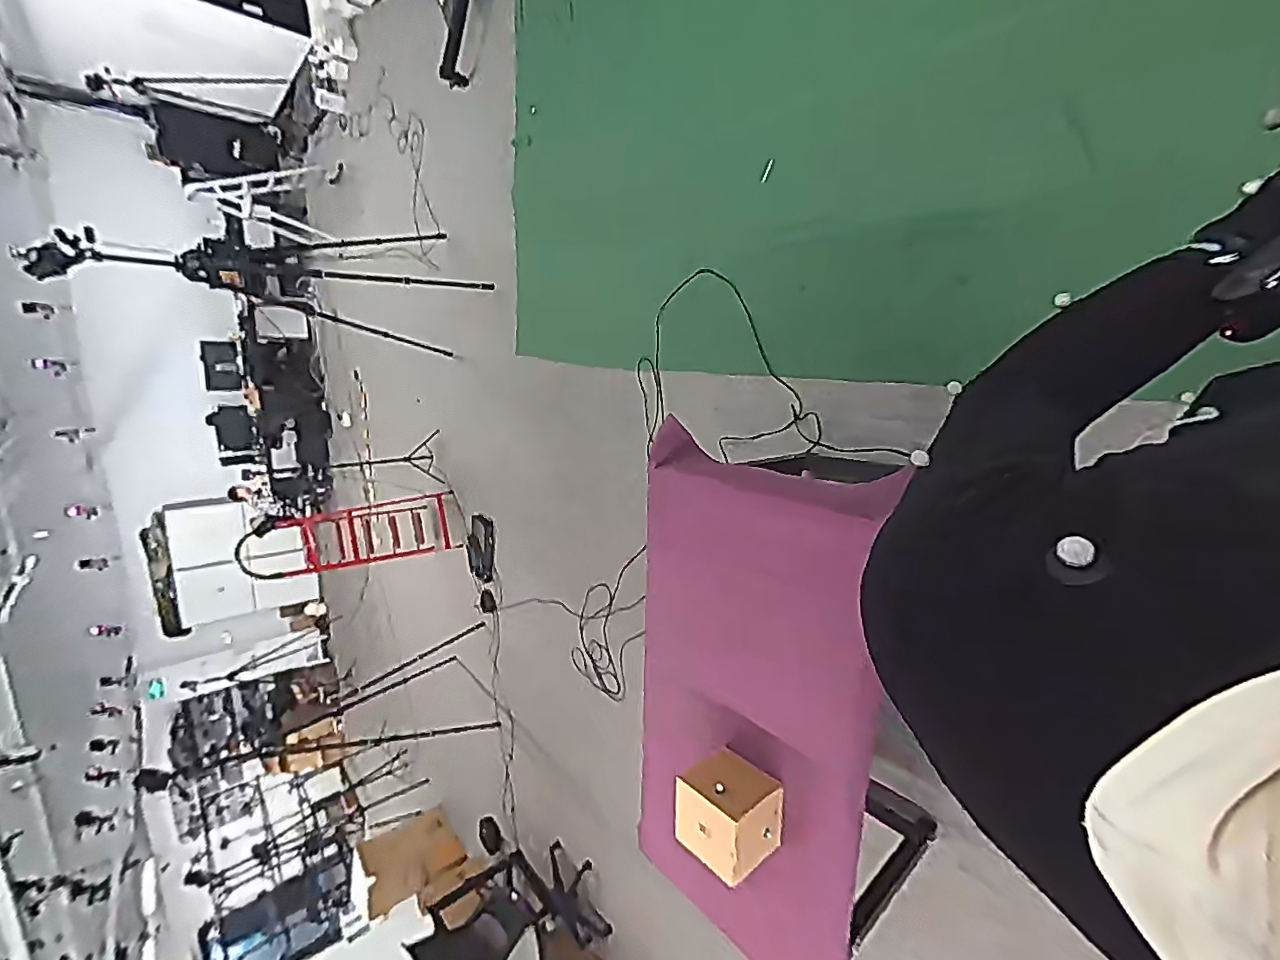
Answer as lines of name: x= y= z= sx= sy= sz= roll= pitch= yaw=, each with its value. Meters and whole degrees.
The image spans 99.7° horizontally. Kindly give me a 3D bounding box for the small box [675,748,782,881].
small box: x=0.202 y=0.752 z=1.243 sx=0.179 sy=0.176 sz=0.168 roll=12 pitch=106 yaw=47
